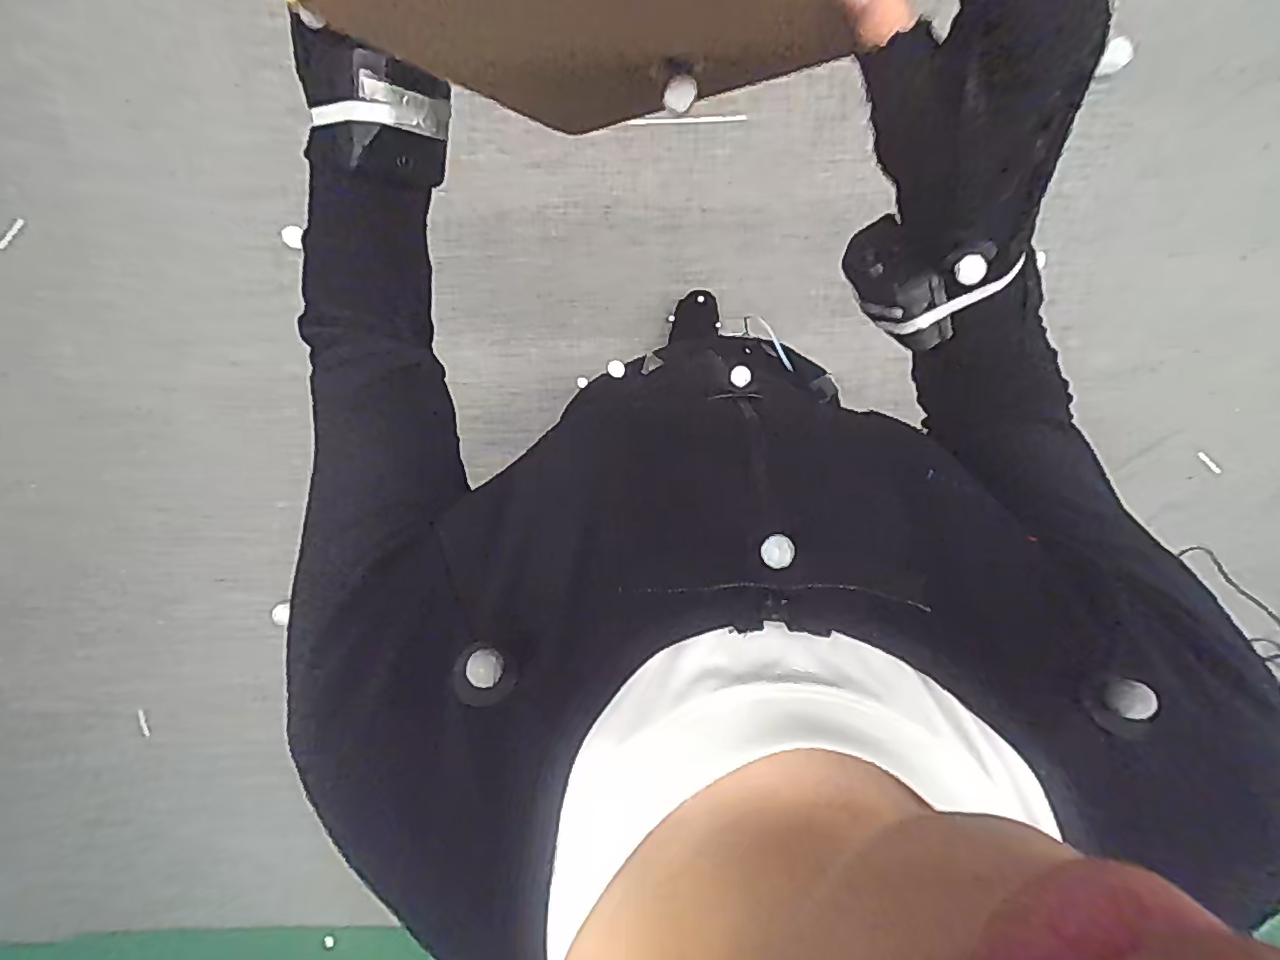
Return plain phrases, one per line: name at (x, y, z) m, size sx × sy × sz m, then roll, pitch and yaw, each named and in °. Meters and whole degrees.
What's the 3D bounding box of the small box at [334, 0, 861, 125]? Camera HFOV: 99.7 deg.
small box at (-0.007, -0.261, 0.194) m, size 0.179 × 0.176 × 0.168 m, roll 2°, pitch 105°, yaw 27°
